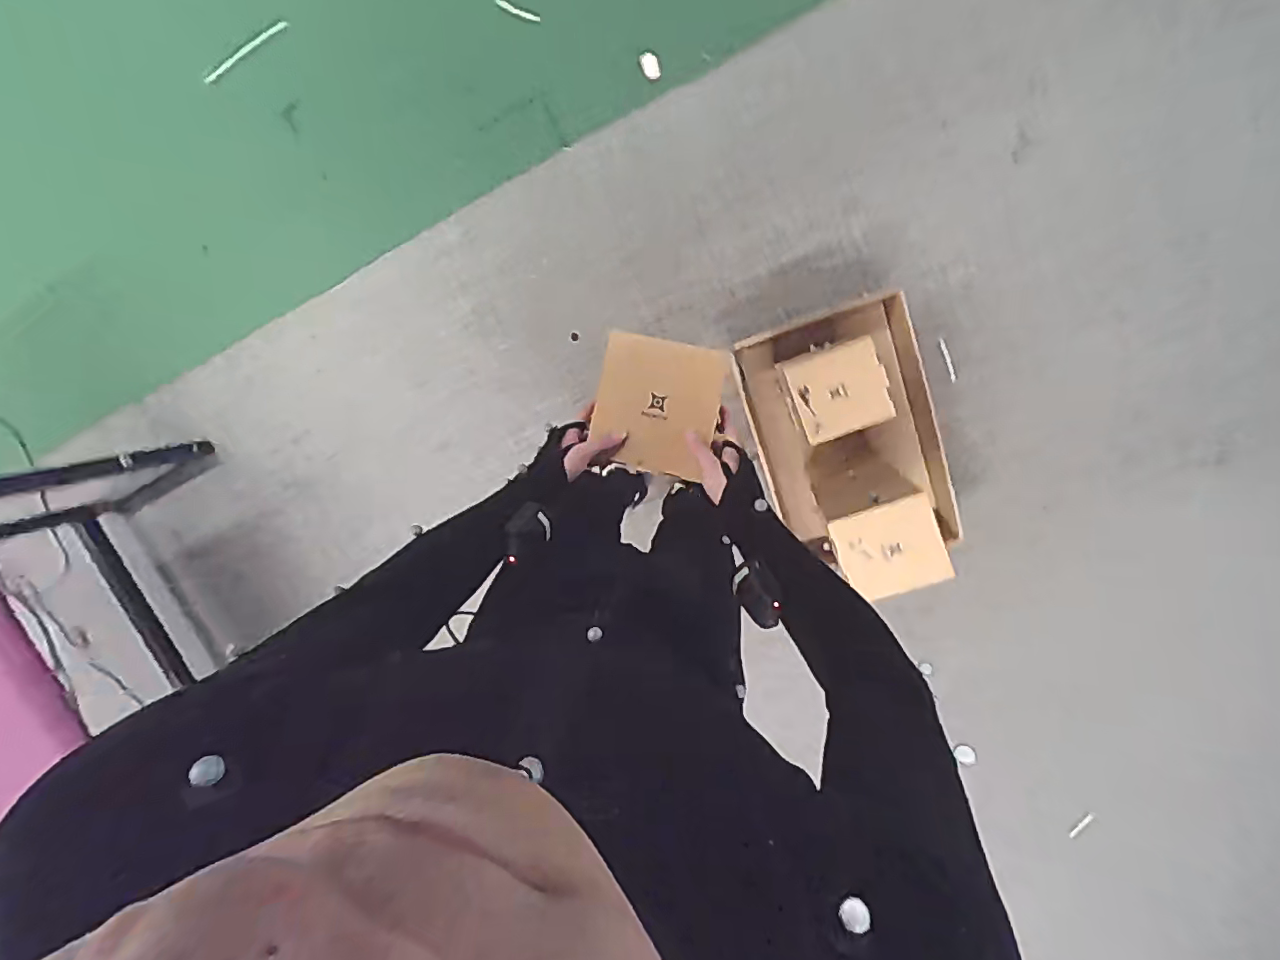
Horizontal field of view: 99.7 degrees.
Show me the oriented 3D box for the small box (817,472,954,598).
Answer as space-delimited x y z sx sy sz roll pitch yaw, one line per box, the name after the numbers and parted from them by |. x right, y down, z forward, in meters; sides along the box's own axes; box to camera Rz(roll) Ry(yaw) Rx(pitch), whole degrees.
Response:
0.454 0.096 1.024 0.179 0.176 0.168 -19 98 15 | small box

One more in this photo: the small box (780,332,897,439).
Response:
0.407 -0.200 1.135 0.179 0.176 0.168 -19 98 13 | small box
